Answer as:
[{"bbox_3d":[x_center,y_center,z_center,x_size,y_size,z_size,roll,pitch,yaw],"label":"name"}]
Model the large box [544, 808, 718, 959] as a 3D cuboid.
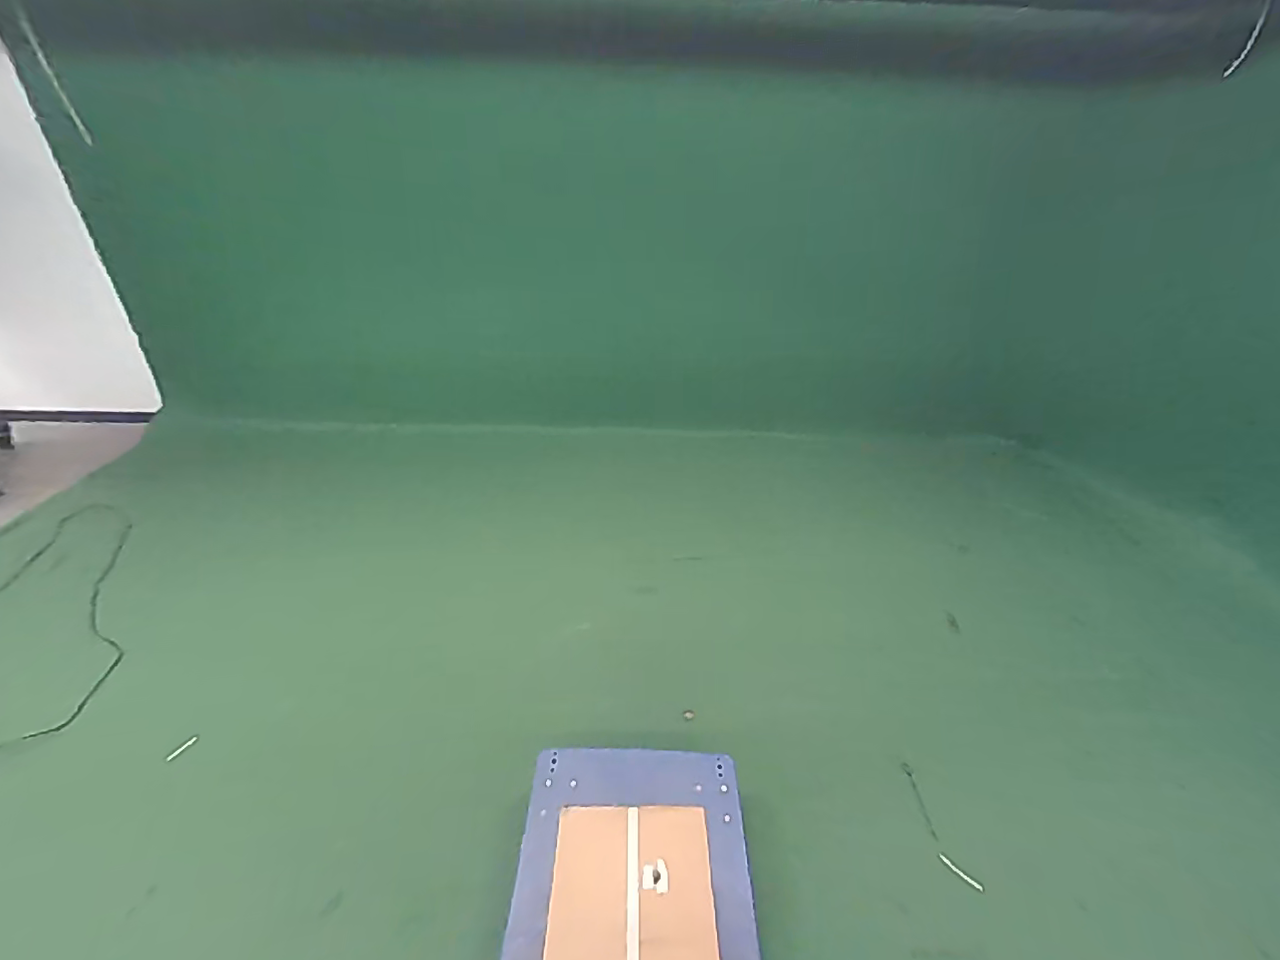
[{"bbox_3d":[-0.018,0.949,1.086,0.320,0.320,0.408,1,31,-1],"label":"large box"}]
